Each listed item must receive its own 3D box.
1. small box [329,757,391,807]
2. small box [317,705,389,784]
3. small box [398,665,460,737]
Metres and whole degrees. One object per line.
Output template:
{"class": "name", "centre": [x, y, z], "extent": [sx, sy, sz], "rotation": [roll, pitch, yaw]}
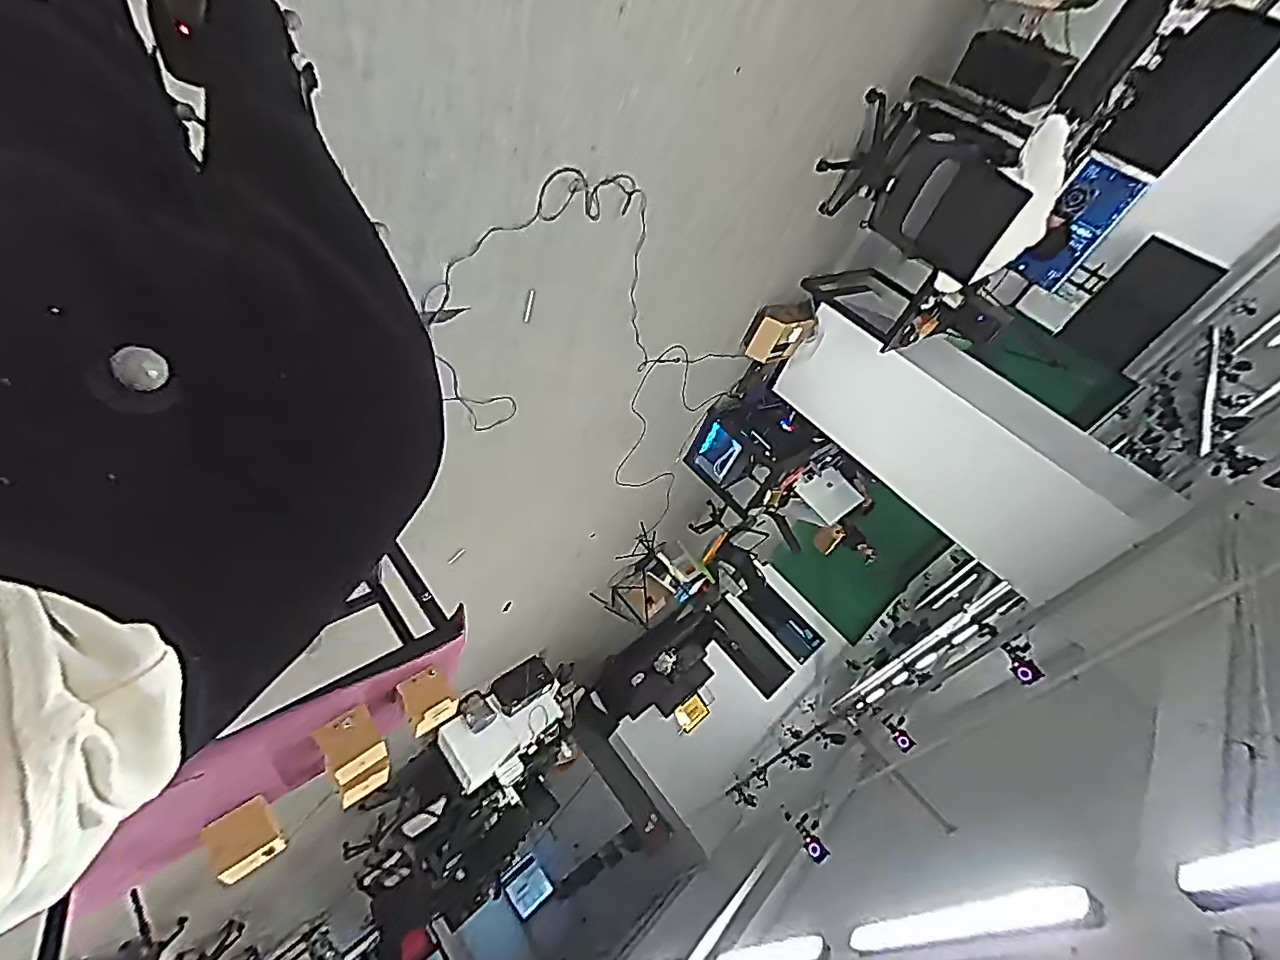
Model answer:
{"class": "small box", "centre": [-1.090, 1.119, 2.098], "extent": [0.168, 0.176, 0.179], "rotation": [-22, 148, -42]}
{"class": "small box", "centre": [-1.008, 0.928, 1.906], "extent": [0.168, 0.176, 0.179], "rotation": [-28, 153, -36]}
{"class": "small box", "centre": [-0.815, 0.845, 2.083], "extent": [0.168, 0.176, 0.179], "rotation": [-25, 153, -39]}
